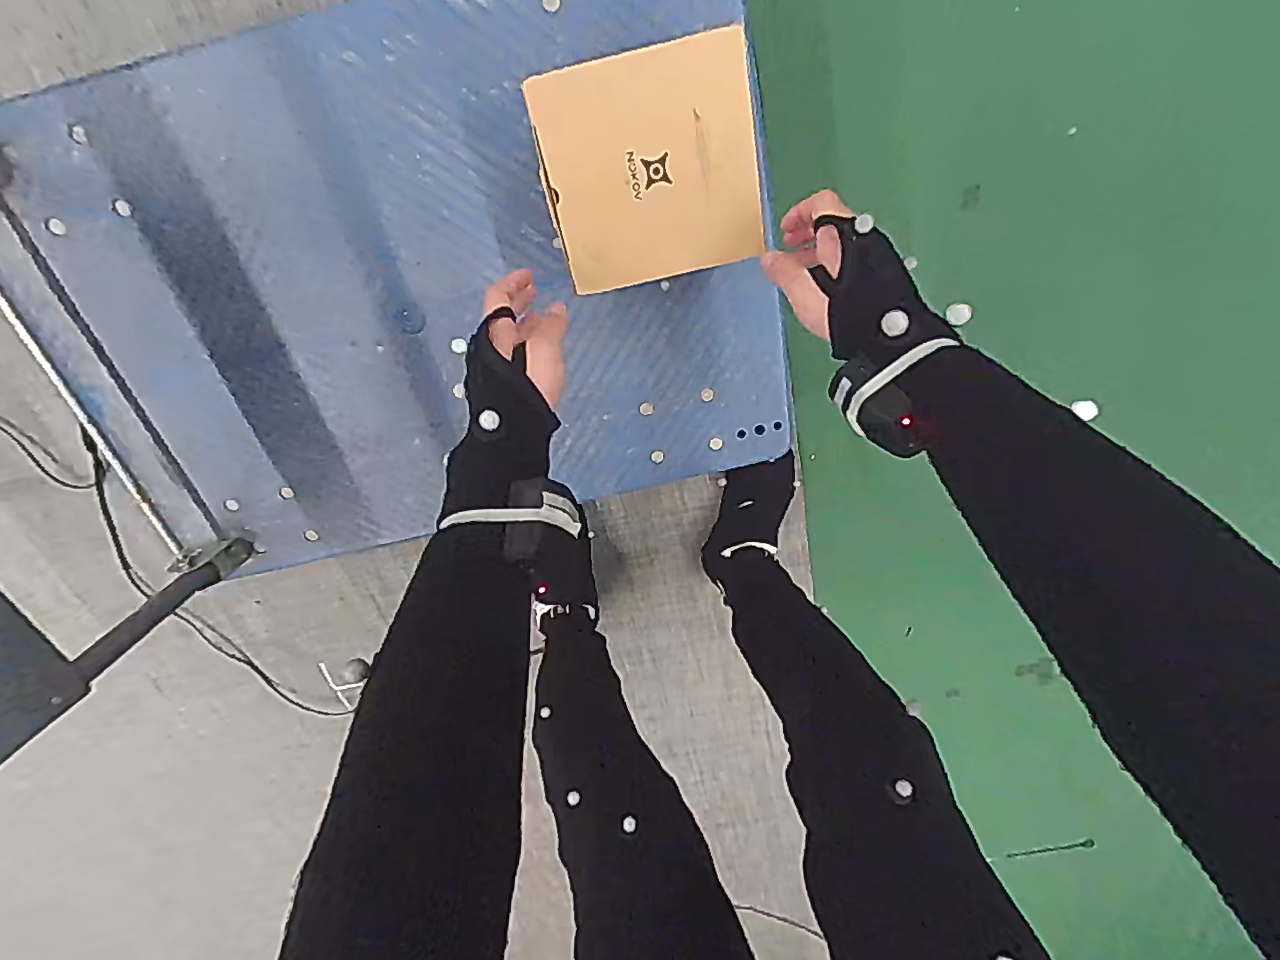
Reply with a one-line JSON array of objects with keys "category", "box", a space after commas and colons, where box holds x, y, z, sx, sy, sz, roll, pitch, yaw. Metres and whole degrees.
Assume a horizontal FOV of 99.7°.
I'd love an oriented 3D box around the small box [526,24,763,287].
[{"category": "small box", "box": [0.008, -0.292, 0.519, 0.179, 0.176, 0.168, -11, 116, 3]}]
